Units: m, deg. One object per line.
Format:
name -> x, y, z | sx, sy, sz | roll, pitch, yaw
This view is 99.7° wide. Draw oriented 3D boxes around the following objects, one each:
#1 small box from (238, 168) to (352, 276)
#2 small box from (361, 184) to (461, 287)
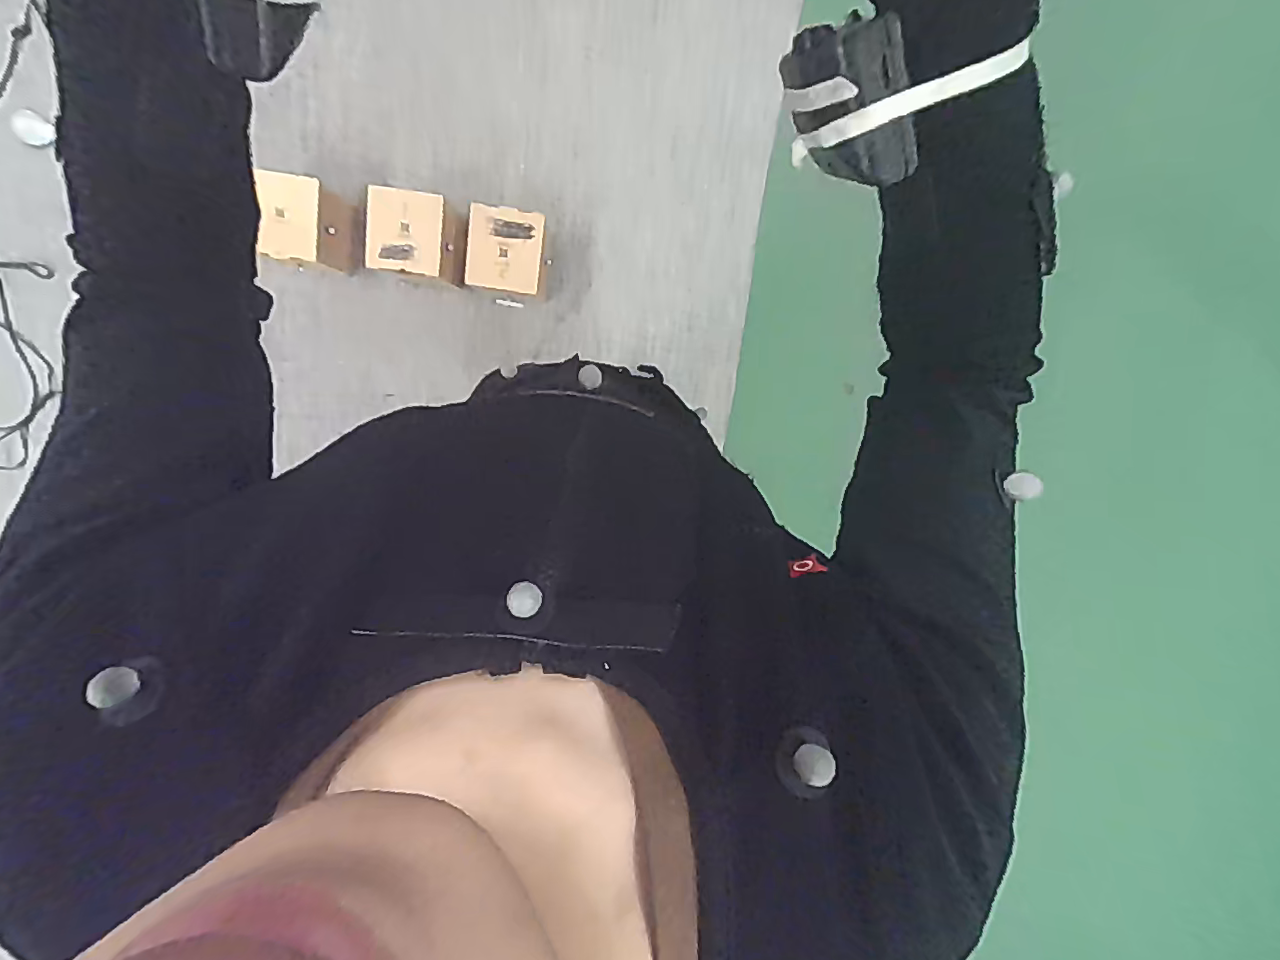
small box -> -0.797, -0.594, 1.263 | 0.168, 0.176, 0.179 | 7, 100, -3
small box -> -0.532, -0.564, 1.274 | 0.168, 0.176, 0.179 | 7, 99, -2
